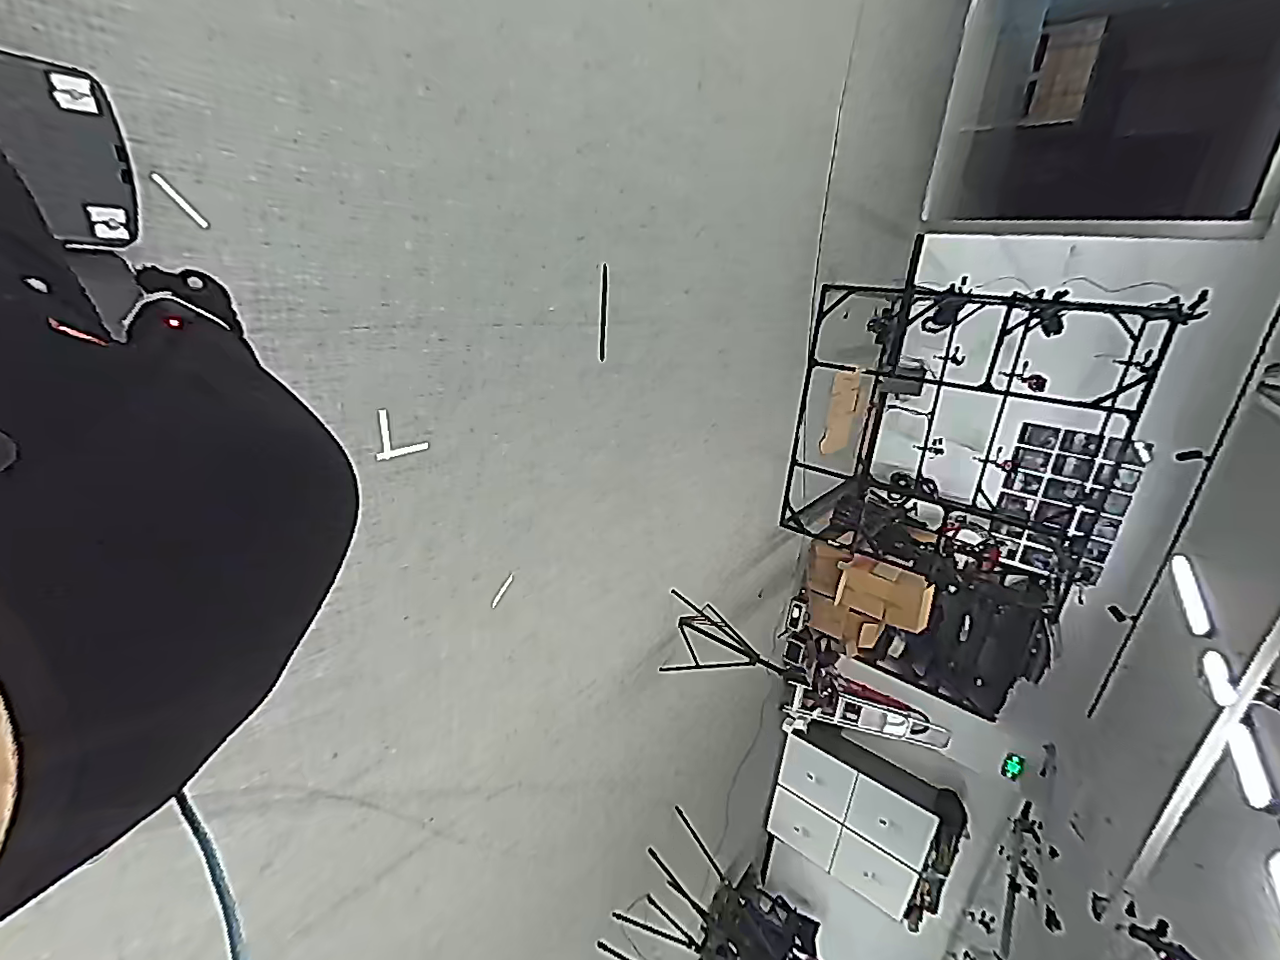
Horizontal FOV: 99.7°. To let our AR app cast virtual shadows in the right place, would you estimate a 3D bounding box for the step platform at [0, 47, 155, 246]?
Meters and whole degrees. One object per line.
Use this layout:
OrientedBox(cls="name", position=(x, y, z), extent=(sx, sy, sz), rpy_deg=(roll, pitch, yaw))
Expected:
OrientedBox(cls="step platform", position=(-1.171, -0.518, 0.790), extent=(0.684, 0.204, 0.286), rpy_deg=(-23, 124, -49))
